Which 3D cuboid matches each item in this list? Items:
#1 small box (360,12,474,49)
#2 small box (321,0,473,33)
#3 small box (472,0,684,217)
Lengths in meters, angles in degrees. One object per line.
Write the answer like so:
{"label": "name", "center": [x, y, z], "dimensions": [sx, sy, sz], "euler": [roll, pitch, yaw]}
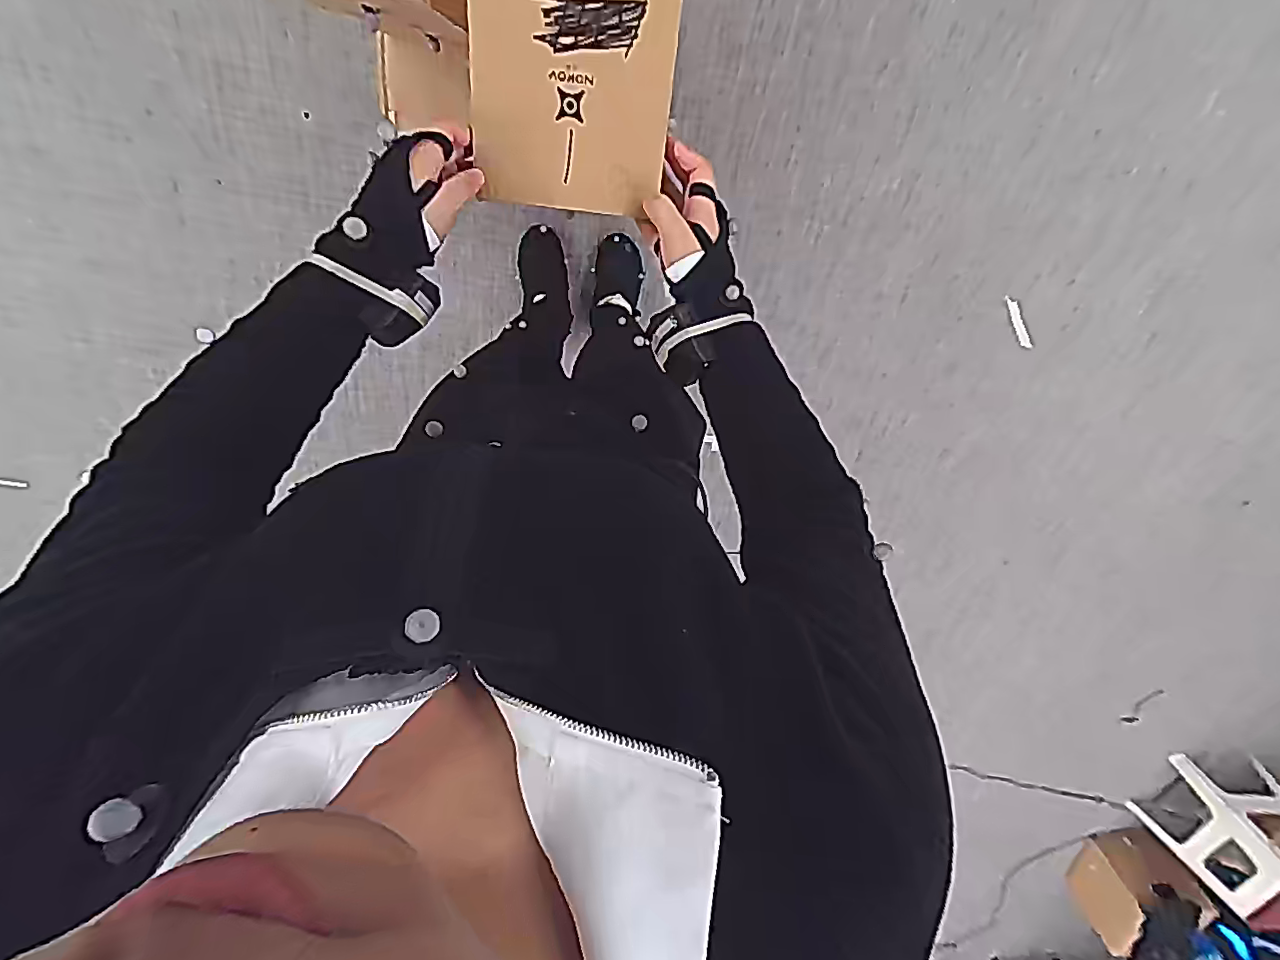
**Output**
{"label": "small box", "center": [-0.239, -0.605, 0.595], "dimensions": [0.168, 0.176, 0.179], "euler": [7, 121, -3]}
{"label": "small box", "center": [-0.237, -0.513, 0.459], "dimensions": [0.168, 0.176, 0.179], "euler": [8, 121, -4]}
{"label": "small box", "center": [-0.059, -0.363, 0.517], "dimensions": [0.168, 0.176, 0.179], "euler": [4, 121, -5]}
